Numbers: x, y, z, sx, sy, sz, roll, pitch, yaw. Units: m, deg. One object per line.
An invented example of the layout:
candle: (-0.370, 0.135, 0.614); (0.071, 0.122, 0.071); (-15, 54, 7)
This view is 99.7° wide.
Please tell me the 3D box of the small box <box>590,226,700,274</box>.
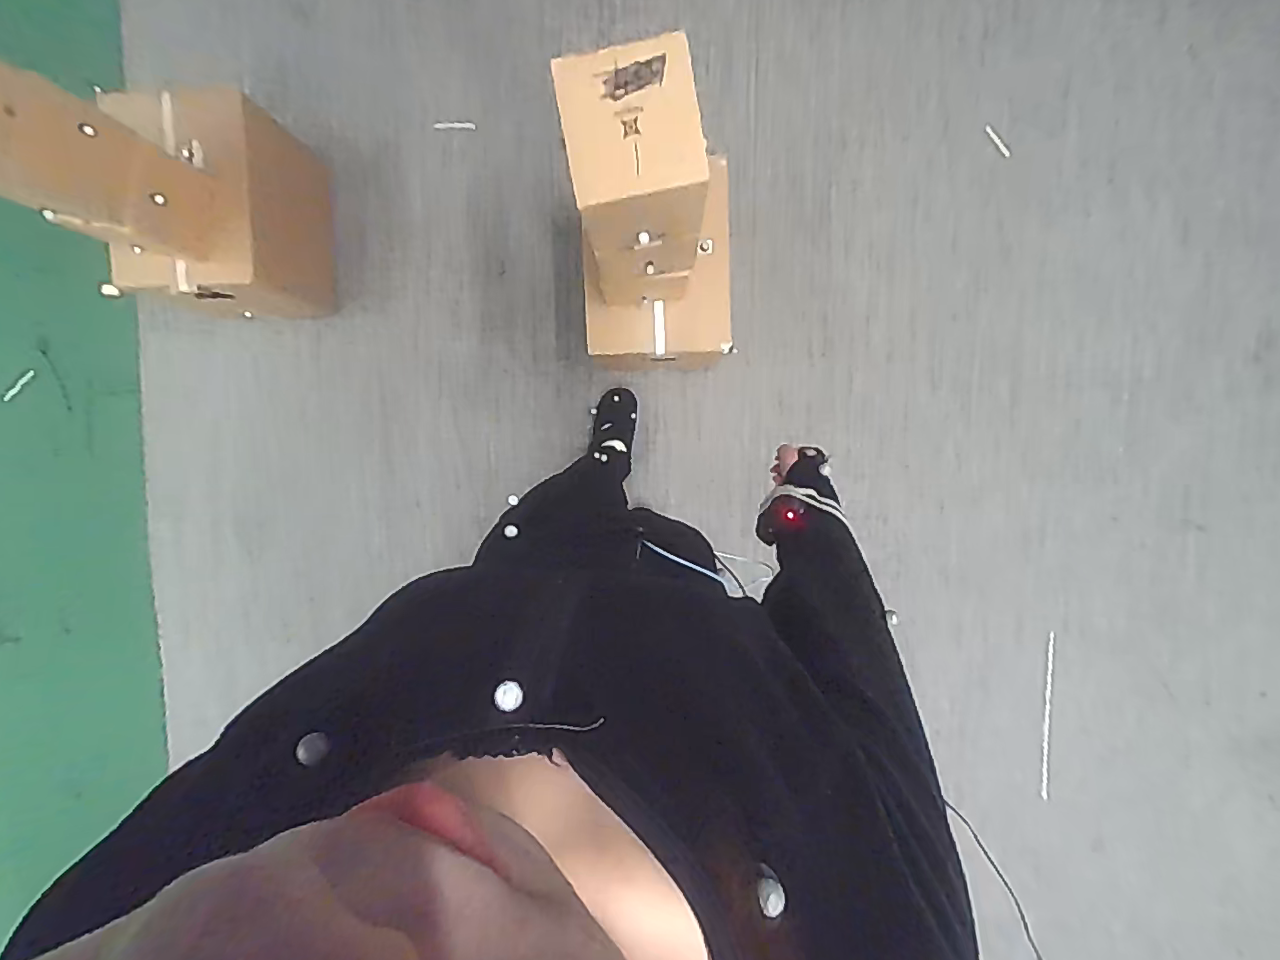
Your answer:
small box: (0.002, -0.450, 0.884); (0.168, 0.176, 0.179); (-9, 96, 3)

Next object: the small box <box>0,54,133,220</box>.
small box: (-0.996, -0.562, 0.890); (0.168, 0.176, 0.179); (13, 96, 1)

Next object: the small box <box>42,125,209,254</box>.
small box: (-0.988, -0.567, 1.053); (0.168, 0.176, 0.179); (10, 96, 1)

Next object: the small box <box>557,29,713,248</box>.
small box: (-0.004, -0.436, 0.719); (0.168, 0.176, 0.179); (-10, 95, 3)

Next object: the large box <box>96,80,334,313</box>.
large box: (-0.978, -0.640, 1.290); (0.320, 0.320, 0.408); (-1, 94, 1)
